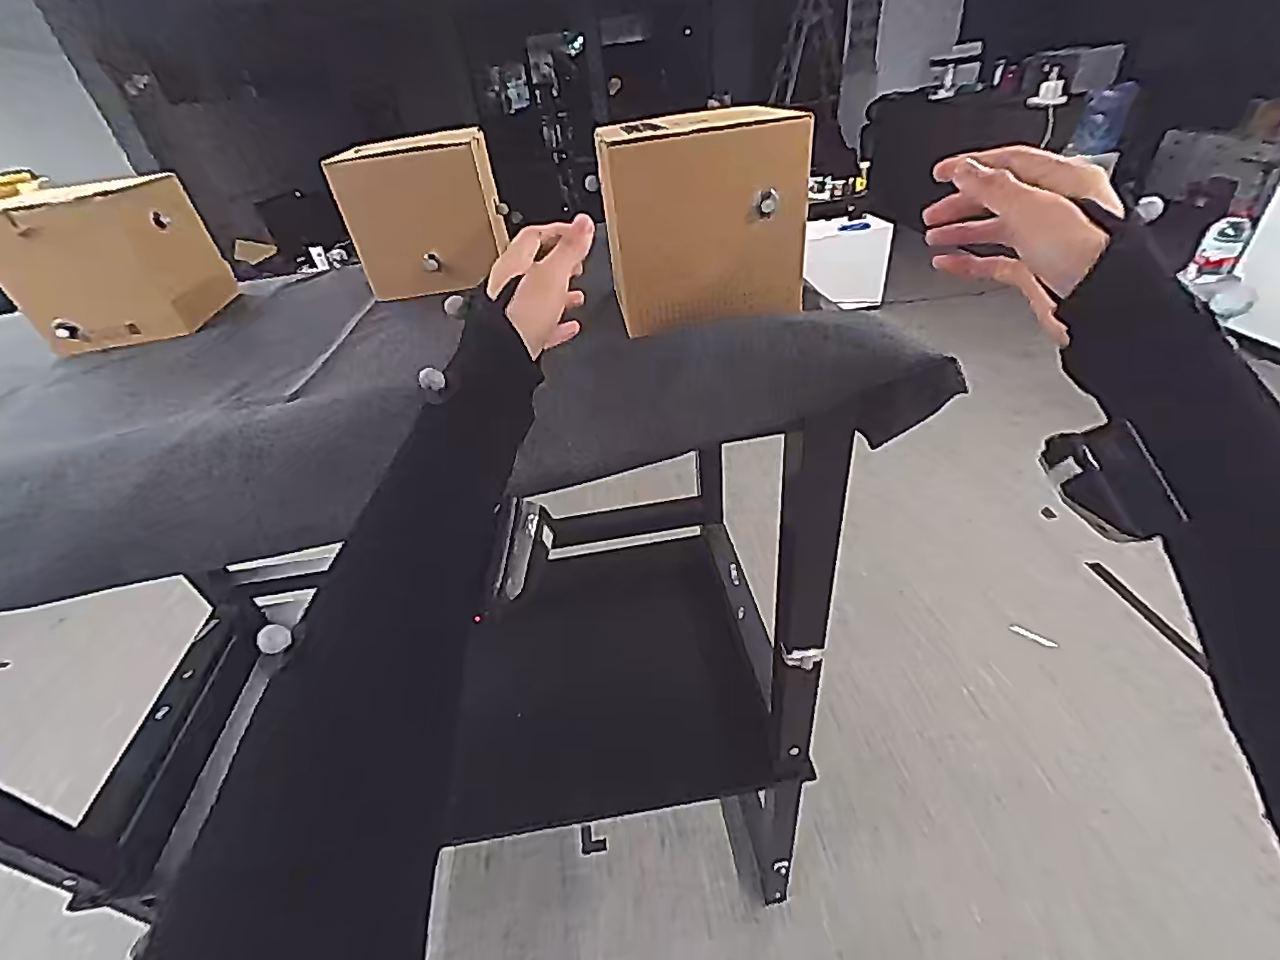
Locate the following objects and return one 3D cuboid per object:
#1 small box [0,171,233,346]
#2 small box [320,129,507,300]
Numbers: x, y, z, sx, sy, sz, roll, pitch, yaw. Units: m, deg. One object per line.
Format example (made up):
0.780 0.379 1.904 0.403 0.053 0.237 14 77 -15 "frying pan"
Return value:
-0.686 -0.286 0.709 0.168 0.176 0.179 -12 37 -5 "small box"
-0.286 -0.361 0.734 0.179 0.176 0.168 -9 37 -3 "small box"
